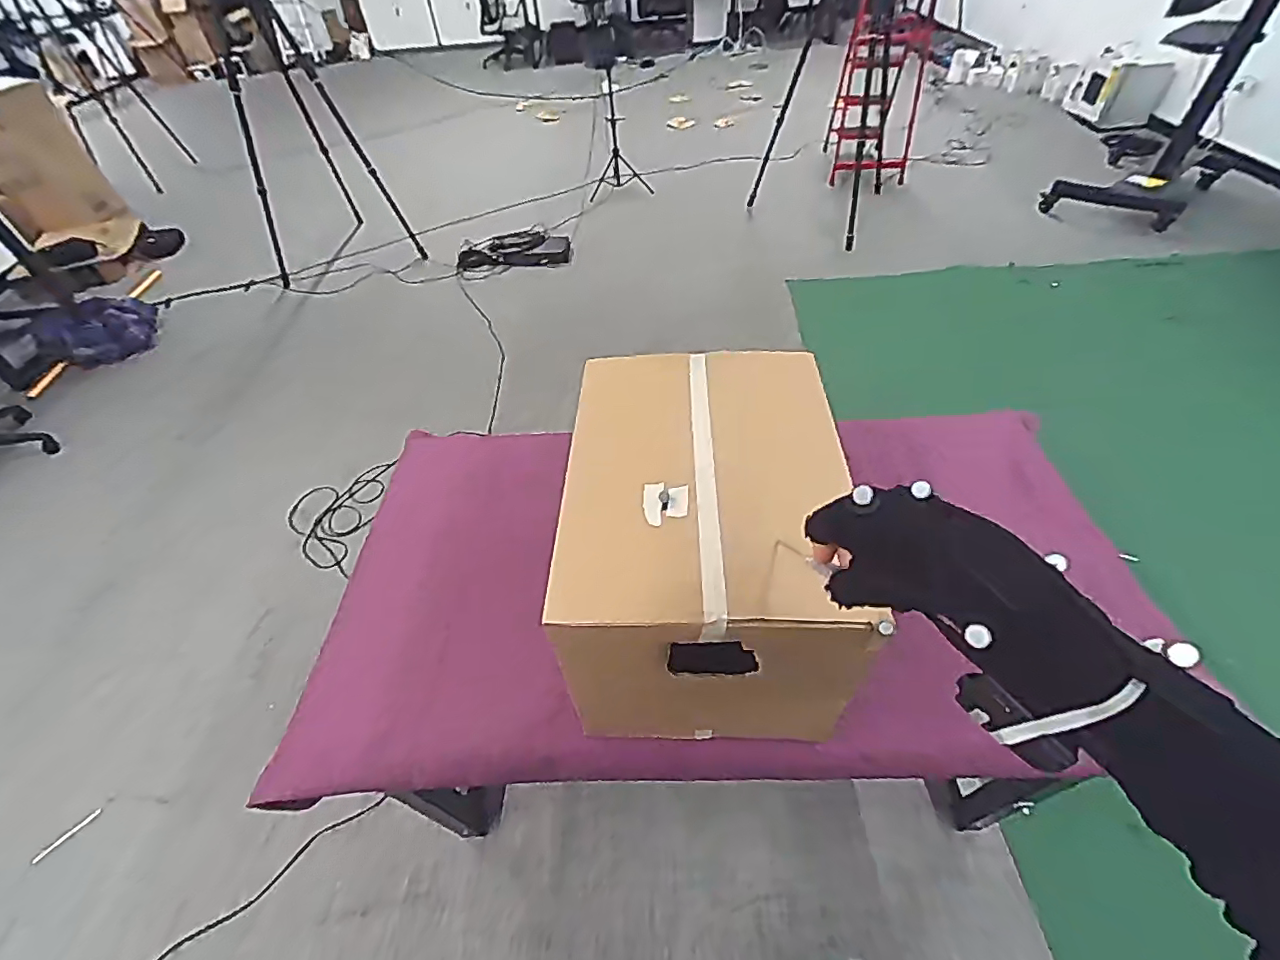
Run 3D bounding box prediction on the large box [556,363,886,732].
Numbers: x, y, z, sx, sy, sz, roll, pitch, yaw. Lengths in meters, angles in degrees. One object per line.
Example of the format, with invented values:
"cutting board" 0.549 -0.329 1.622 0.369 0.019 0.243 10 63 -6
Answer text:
"large box" 0.082 0.086 0.738 0.320 0.320 0.408 -1 49 4
